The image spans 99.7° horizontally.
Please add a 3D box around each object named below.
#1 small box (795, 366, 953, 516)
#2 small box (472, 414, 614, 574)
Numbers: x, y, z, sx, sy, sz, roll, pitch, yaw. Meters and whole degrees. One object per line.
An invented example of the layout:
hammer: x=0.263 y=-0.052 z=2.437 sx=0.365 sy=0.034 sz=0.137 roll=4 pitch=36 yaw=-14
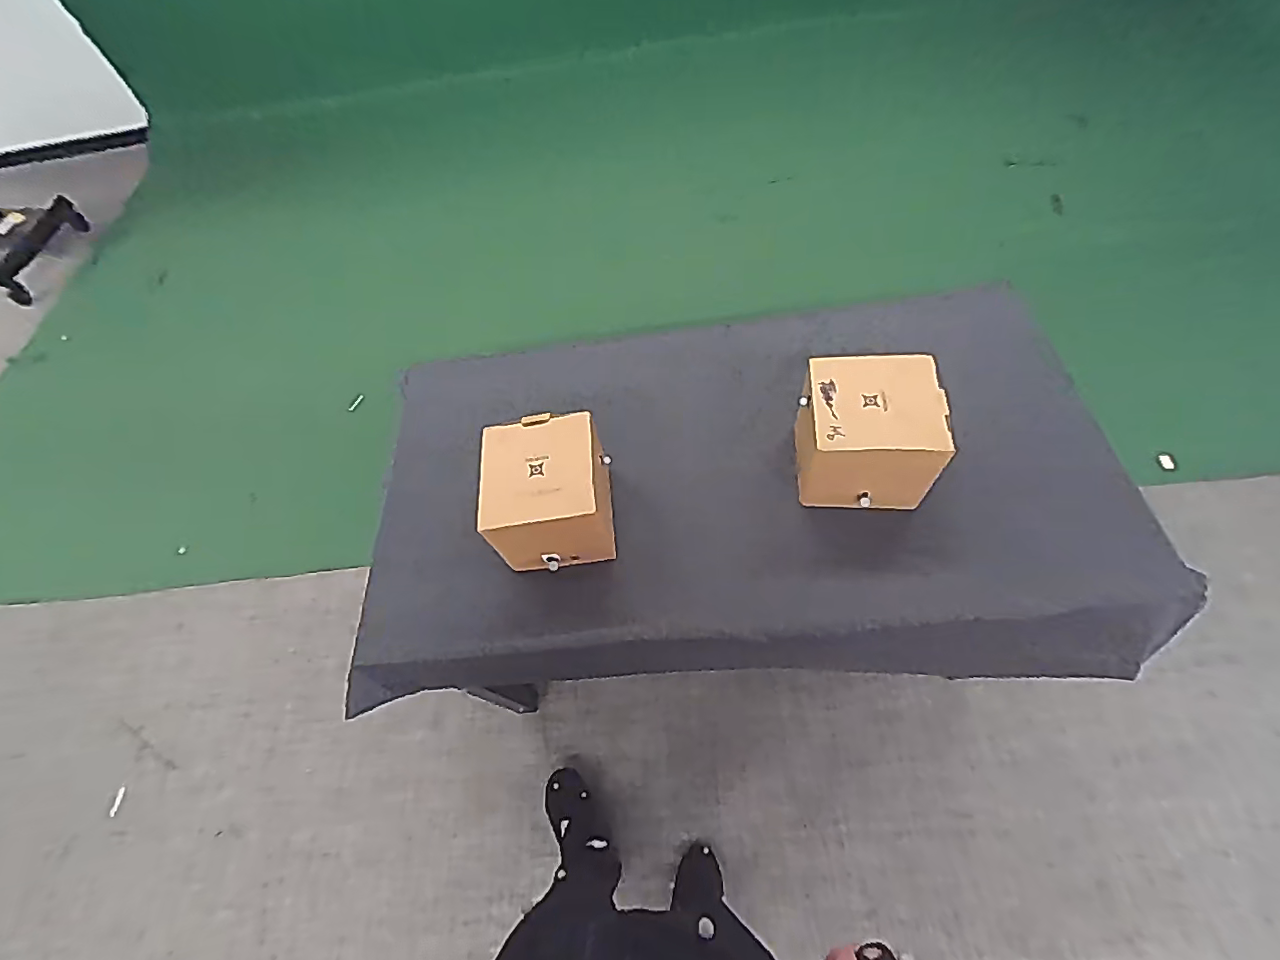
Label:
small box: x=0.340 y=-0.054 z=0.823 sx=0.179 sy=0.176 sz=0.168 roll=2 pitch=60 yaw=8
small box: x=-0.137 y=0.026 z=0.822 sx=0.168 sy=0.176 sz=0.179 roll=-8 pitch=59 yaw=6
